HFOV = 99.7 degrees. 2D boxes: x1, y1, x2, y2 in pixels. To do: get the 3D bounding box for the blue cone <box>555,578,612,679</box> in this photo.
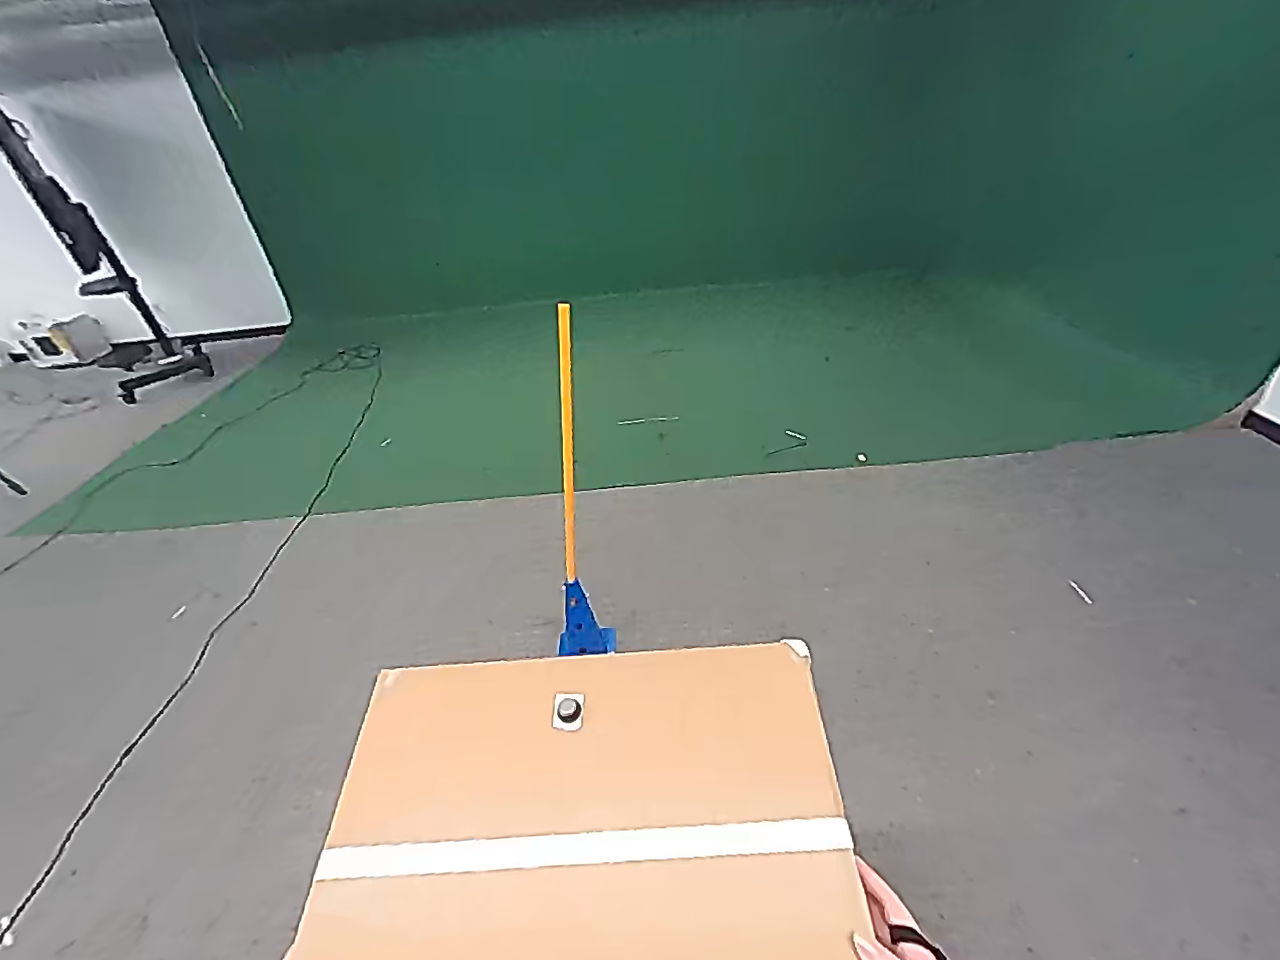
[{"bbox_3d":[-0.202,0.457,1.759,0.193,0.380,0.192,-5,34,-2],"label":"blue cone"}]
